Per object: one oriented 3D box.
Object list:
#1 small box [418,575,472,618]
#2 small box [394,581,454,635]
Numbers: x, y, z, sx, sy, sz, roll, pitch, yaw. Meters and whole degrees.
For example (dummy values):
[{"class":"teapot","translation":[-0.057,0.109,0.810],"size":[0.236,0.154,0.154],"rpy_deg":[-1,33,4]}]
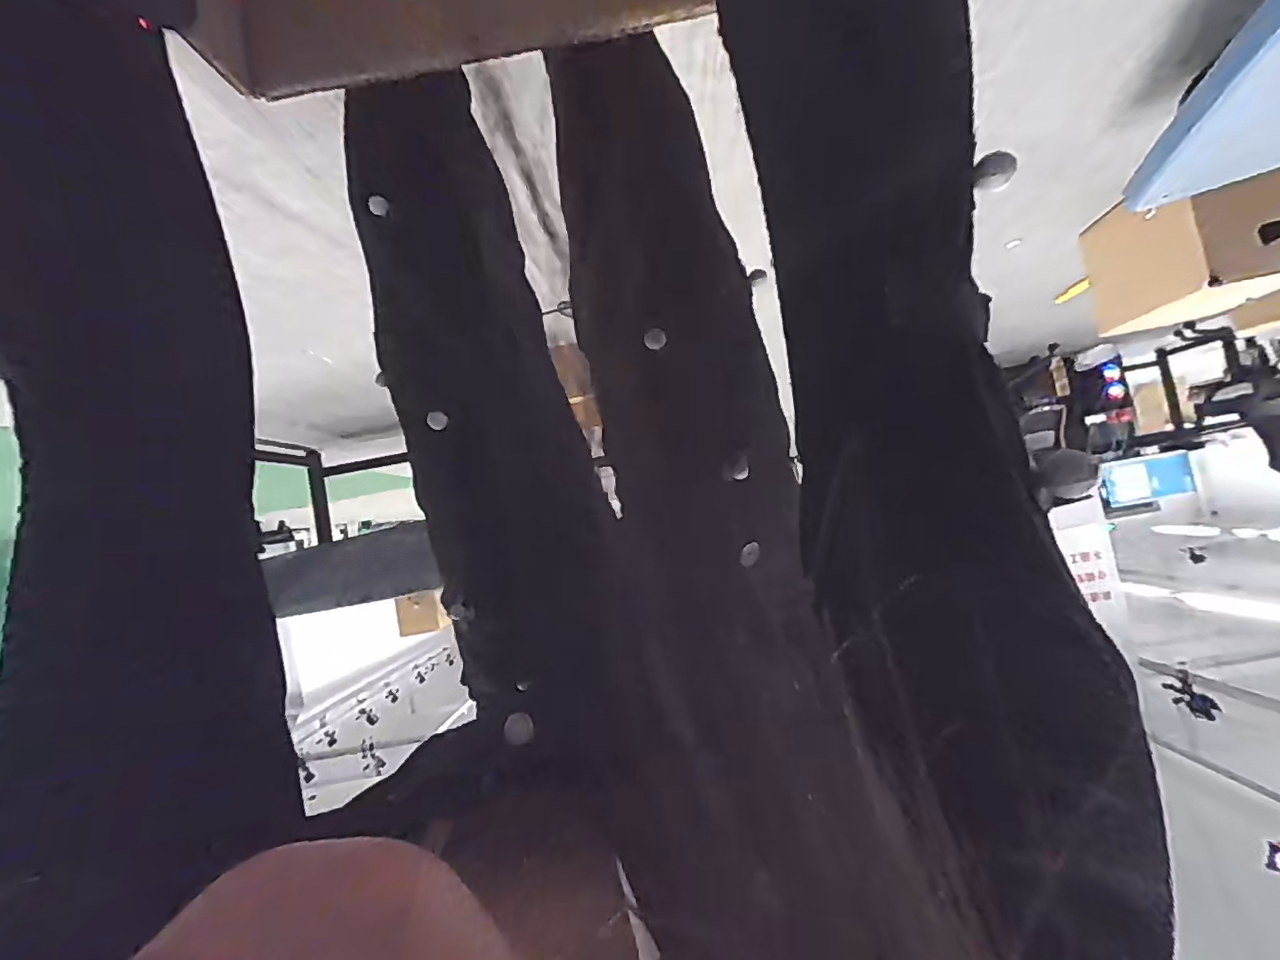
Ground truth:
[{"class":"small box","translation":[-0.860,0.520,2.390],"size":[0.168,0.176,0.179],"rpy_deg":[-11,176,0]},{"class":"small box","translation":[-0.869,0.512,2.186],"size":[0.168,0.176,0.179],"rpy_deg":[-10,176,0]}]
